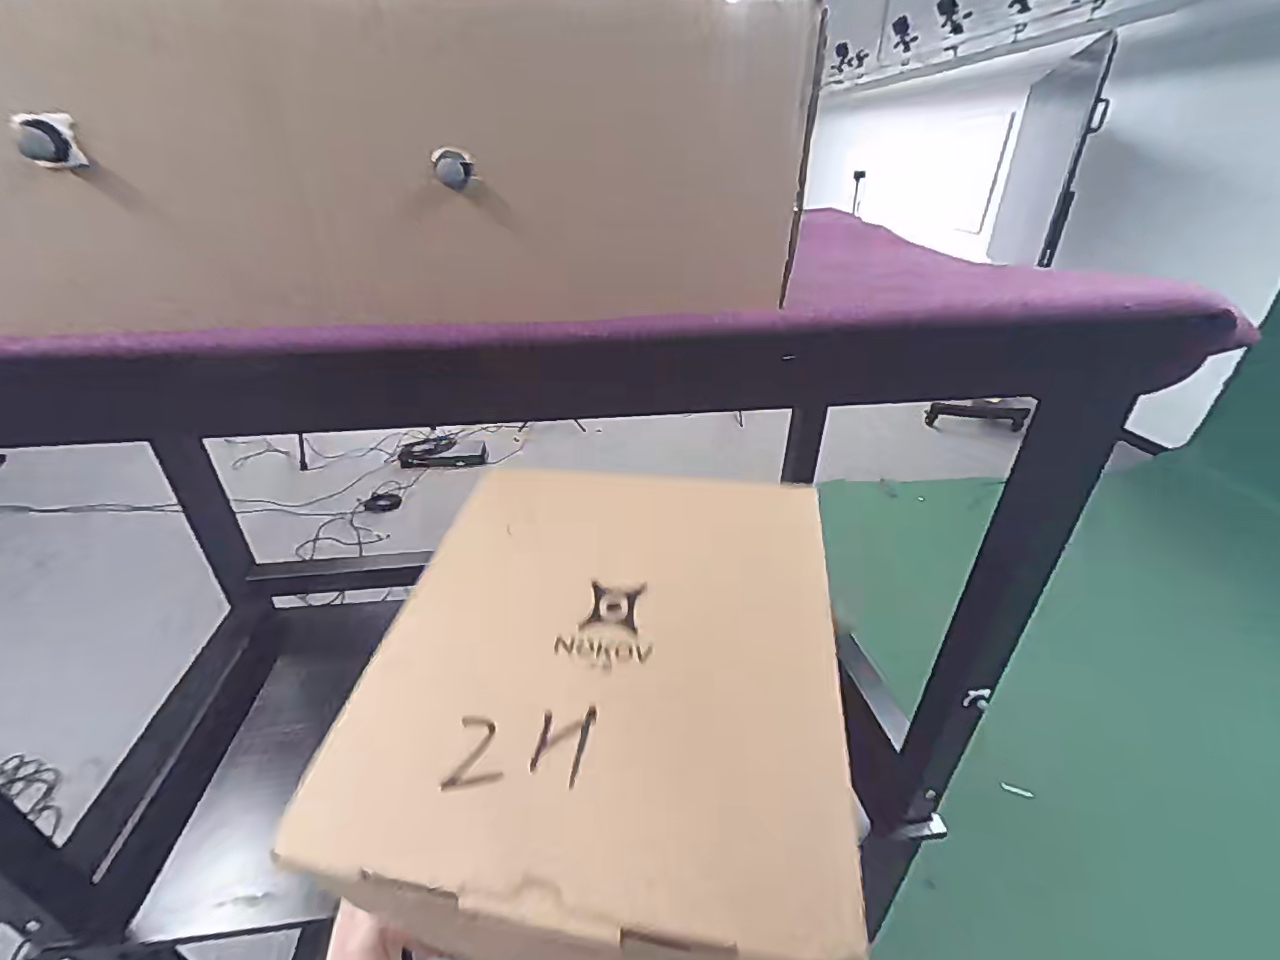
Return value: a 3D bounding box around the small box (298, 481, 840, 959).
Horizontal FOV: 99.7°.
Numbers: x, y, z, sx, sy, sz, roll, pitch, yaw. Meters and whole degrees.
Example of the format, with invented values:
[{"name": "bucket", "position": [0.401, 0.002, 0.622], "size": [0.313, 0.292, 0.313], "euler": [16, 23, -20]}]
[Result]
[{"name": "small box", "position": [-0.006, 0.123, 0.265], "size": [0.168, 0.176, 0.179], "euler": [3, 42, 11]}]
